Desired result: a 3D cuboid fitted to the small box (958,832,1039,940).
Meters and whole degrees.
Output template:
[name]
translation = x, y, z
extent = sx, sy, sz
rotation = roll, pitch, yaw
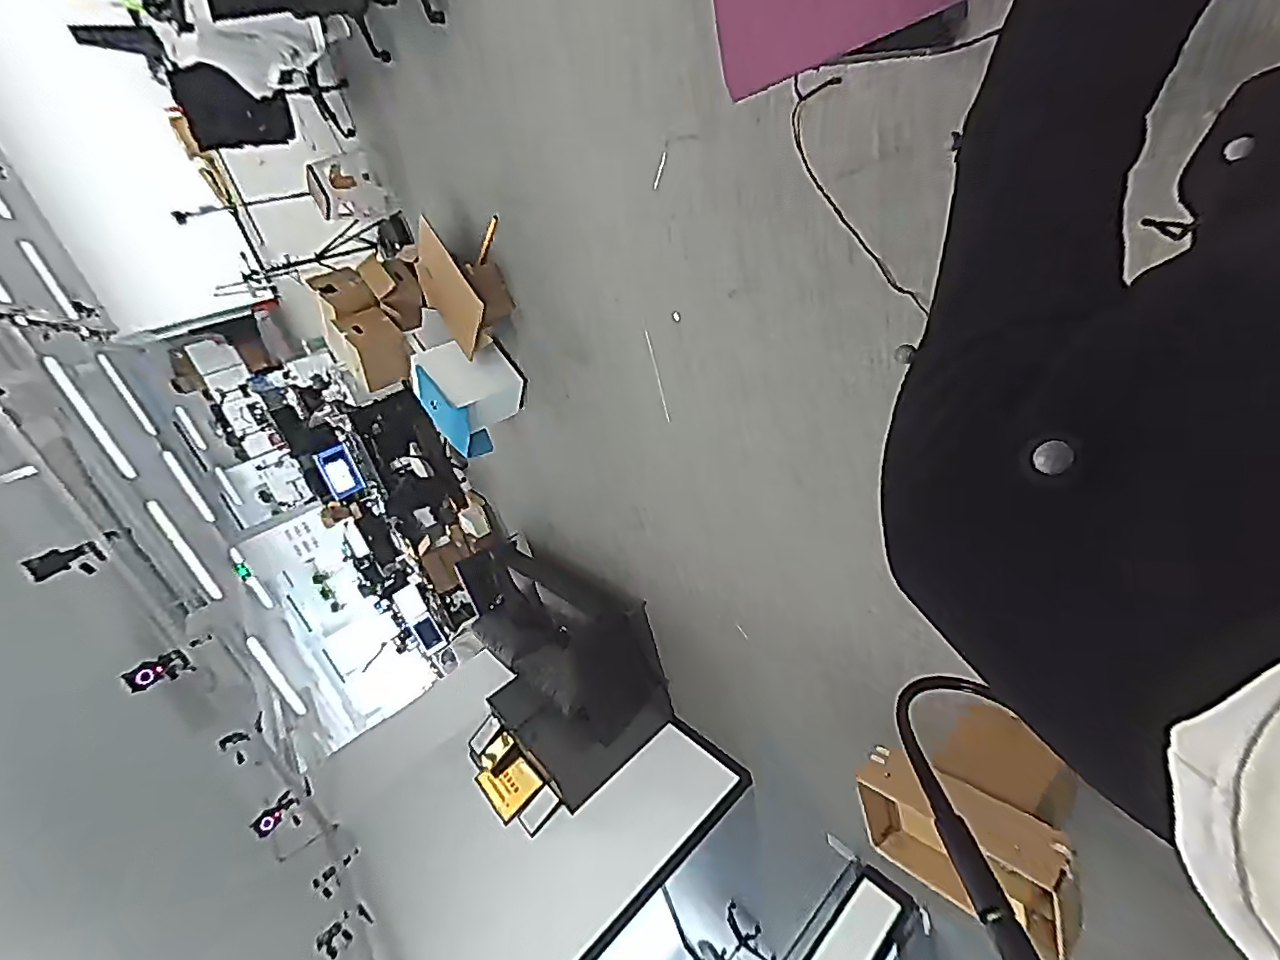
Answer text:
[small box]
translation = 1.124, 1.258, 1.693
extent = 0.168, 0.176, 0.179
rotation = 7, 123, 52
